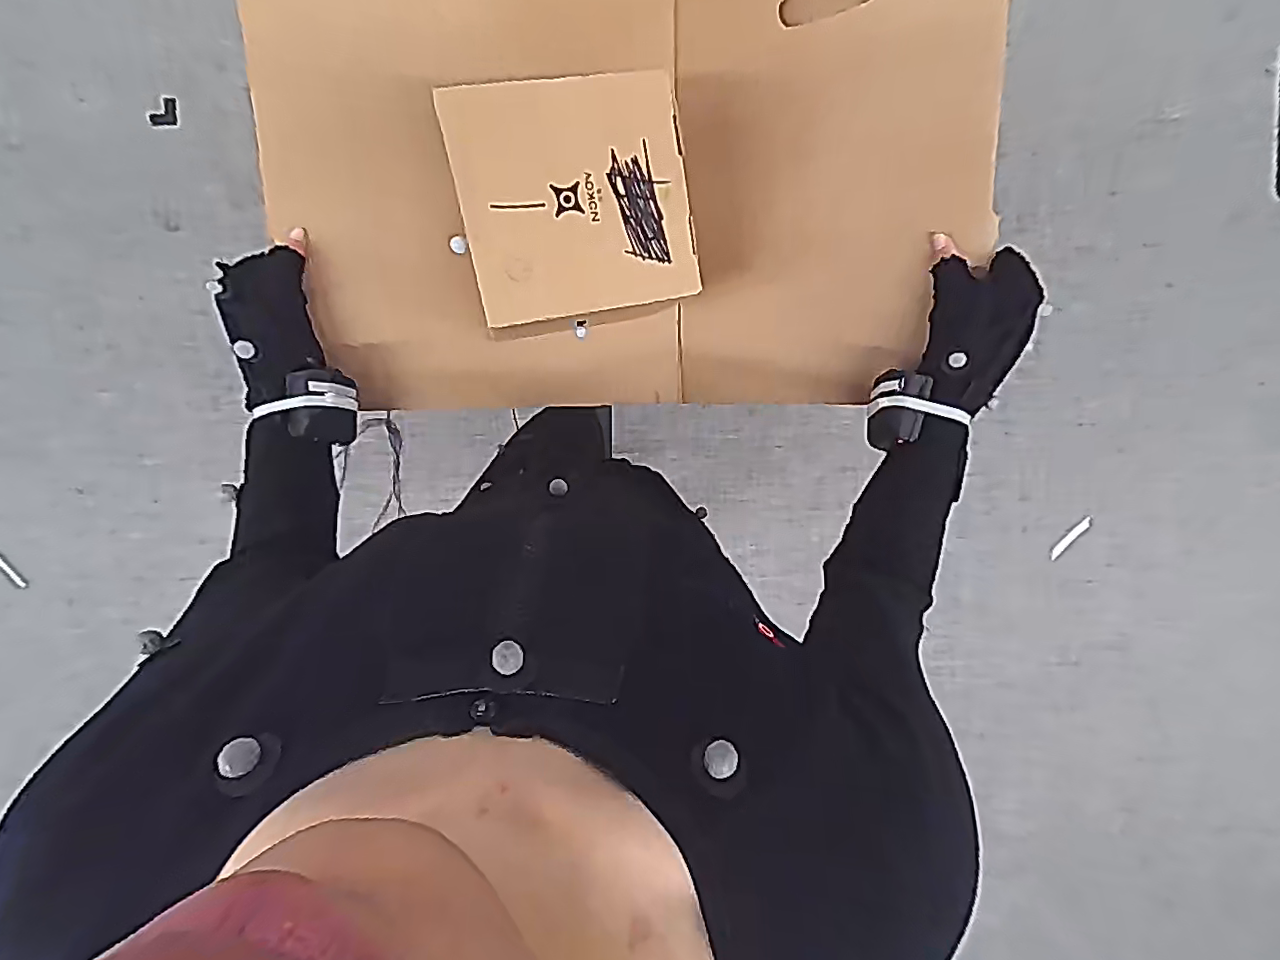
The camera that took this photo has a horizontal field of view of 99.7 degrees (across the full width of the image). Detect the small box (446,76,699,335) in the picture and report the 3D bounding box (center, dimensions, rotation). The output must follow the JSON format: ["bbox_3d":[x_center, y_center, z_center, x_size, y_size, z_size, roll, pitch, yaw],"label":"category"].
[{"bbox_3d":[-0.064,-0.233,0.496,0.179,0.176,0.168,-13,103,-11],"label":"small box"}]
